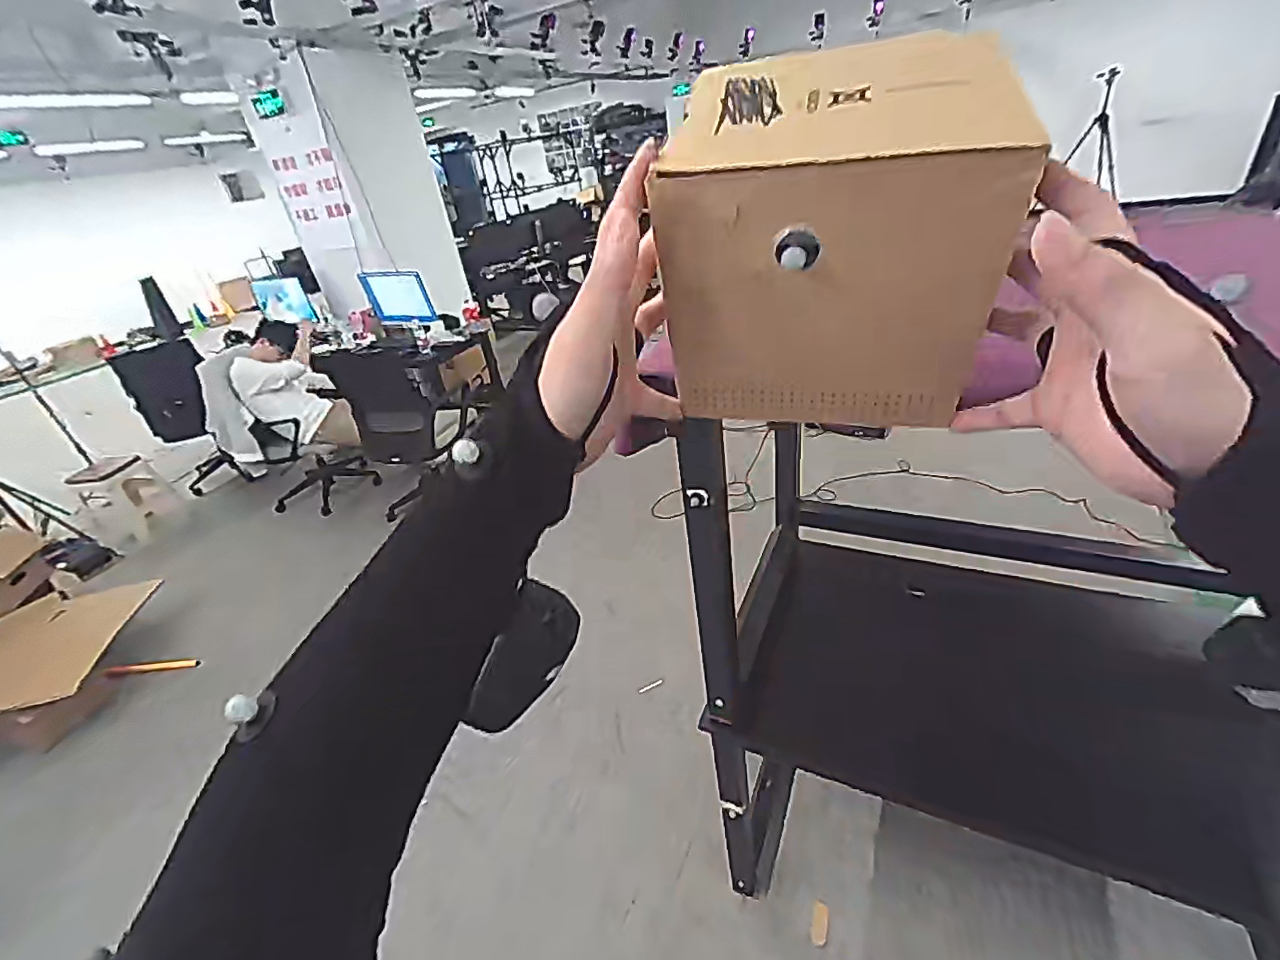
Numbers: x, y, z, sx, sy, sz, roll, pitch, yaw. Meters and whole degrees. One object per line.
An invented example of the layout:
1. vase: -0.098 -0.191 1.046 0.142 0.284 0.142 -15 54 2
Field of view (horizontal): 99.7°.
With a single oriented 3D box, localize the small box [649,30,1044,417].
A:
1. small box: 0.119 -0.157 0.355 0.179 0.176 0.168 5 53 16
